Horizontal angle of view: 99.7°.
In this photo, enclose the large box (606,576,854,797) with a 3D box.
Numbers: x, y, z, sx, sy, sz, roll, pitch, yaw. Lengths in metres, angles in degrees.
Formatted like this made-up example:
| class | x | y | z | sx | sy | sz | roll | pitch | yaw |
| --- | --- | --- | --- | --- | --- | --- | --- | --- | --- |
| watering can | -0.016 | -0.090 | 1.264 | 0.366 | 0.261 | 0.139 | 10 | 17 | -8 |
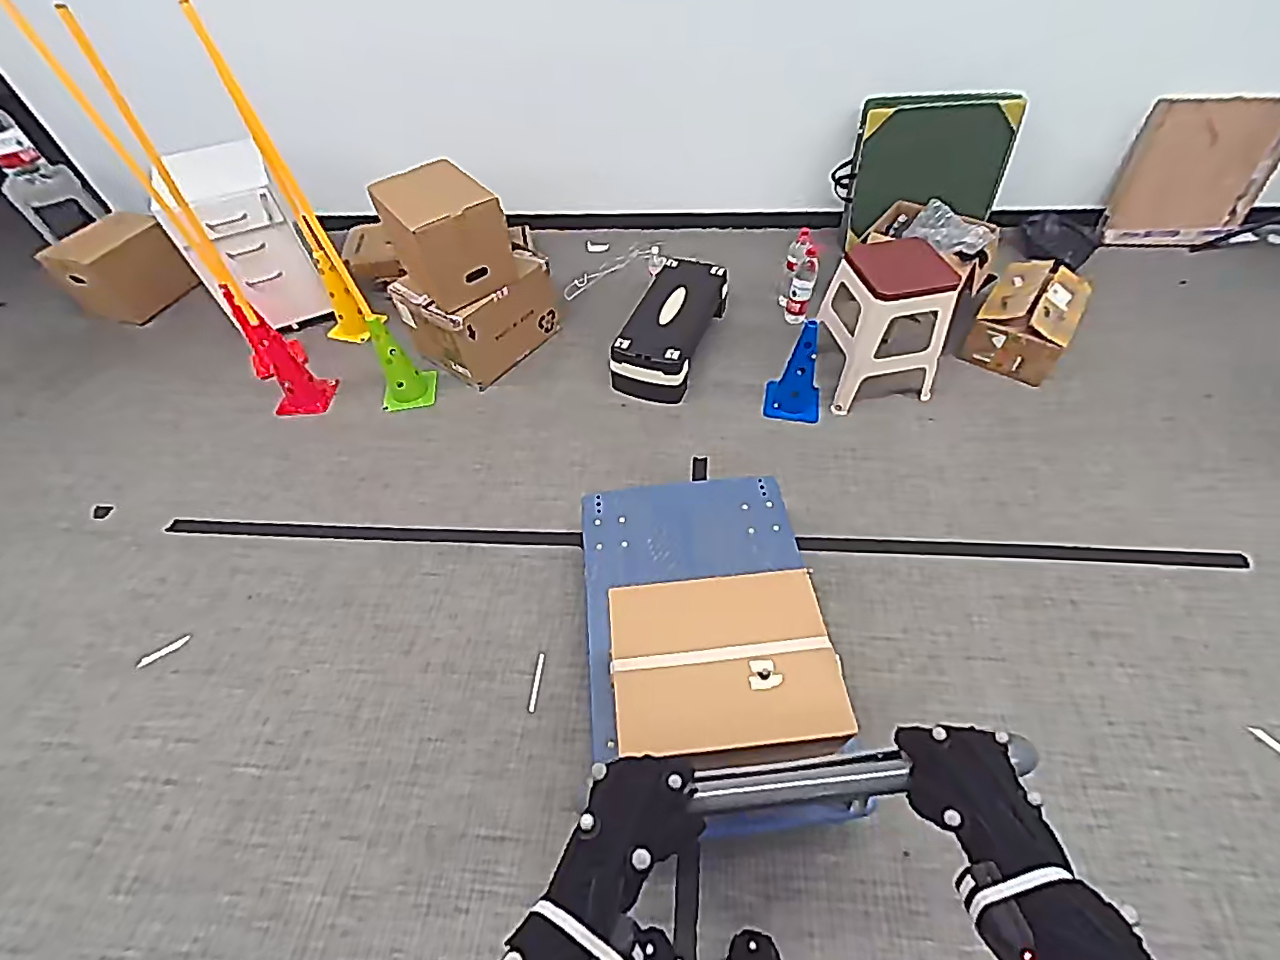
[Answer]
| class | x | y | z | sx | sy | sz | roll | pitch | yaw |
| --- | --- | --- | --- | --- | --- | --- | --- | --- | --- |
| large box | 0.149 | 0.424 | 1.099 | 0.408 | 0.320 | 0.320 | -6 | 53 | -2 |
